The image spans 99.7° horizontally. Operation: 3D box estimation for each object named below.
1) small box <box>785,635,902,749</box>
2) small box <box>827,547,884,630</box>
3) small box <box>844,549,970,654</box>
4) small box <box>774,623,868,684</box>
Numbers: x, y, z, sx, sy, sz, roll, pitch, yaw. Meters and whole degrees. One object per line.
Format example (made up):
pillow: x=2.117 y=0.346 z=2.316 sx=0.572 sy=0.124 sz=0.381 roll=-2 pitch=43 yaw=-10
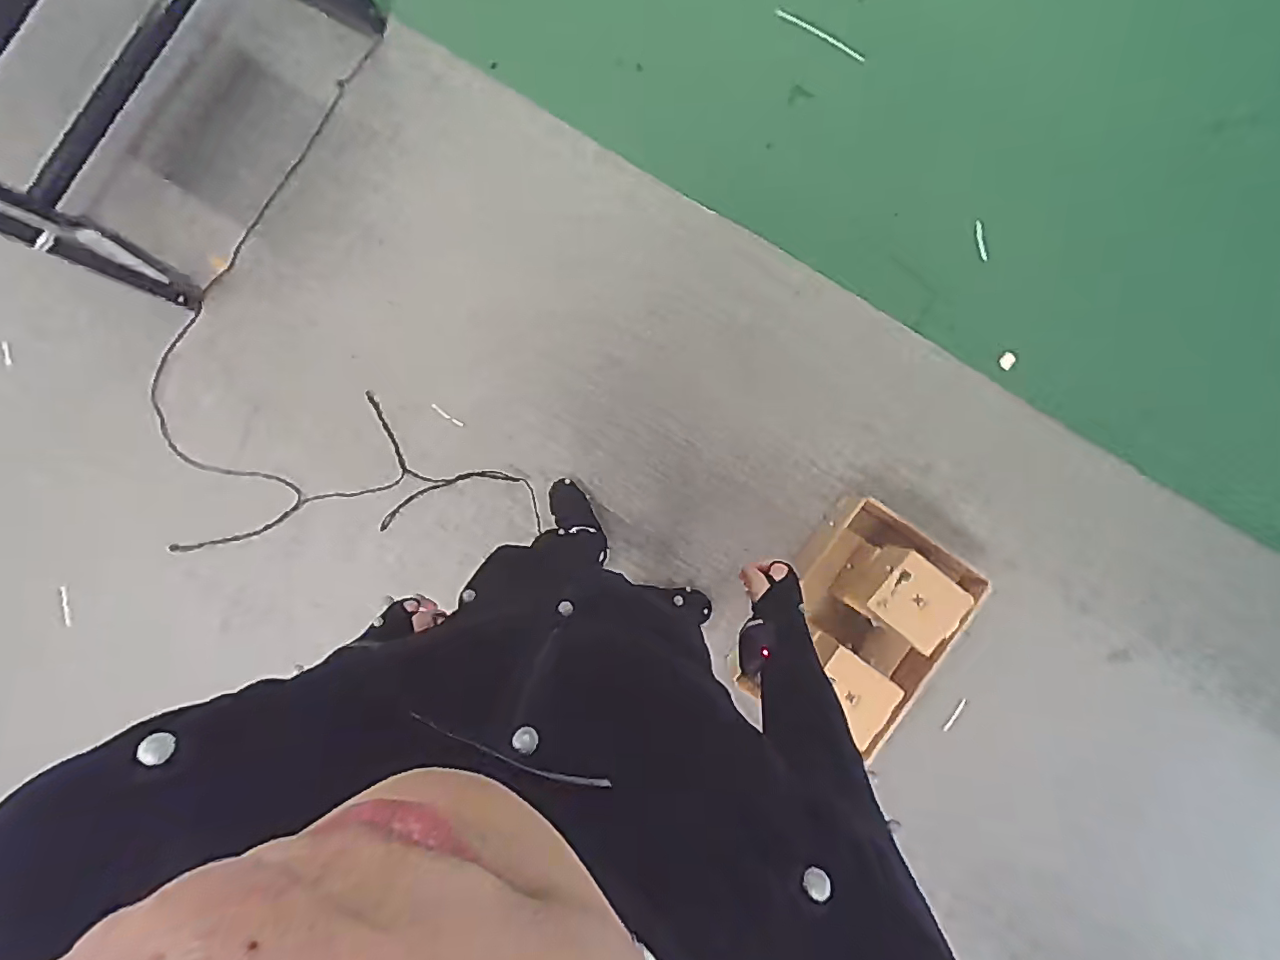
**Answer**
small box: x=0.479 y=0.495 z=1.298 sx=0.179 sy=0.176 sz=0.168 roll=37 pitch=87 yaw=6
small box: x=0.638 y=0.293 z=1.463 sx=0.179 sy=0.176 sz=0.168 roll=34 pitch=91 yaw=5
small box: x=0.630 y=0.279 z=1.298 sx=0.179 sy=0.176 sz=0.168 roll=41 pitch=90 yaw=4
small box: x=0.484 y=0.507 z=1.461 sx=0.179 sy=0.176 sz=0.168 roll=35 pitch=89 yaw=5
